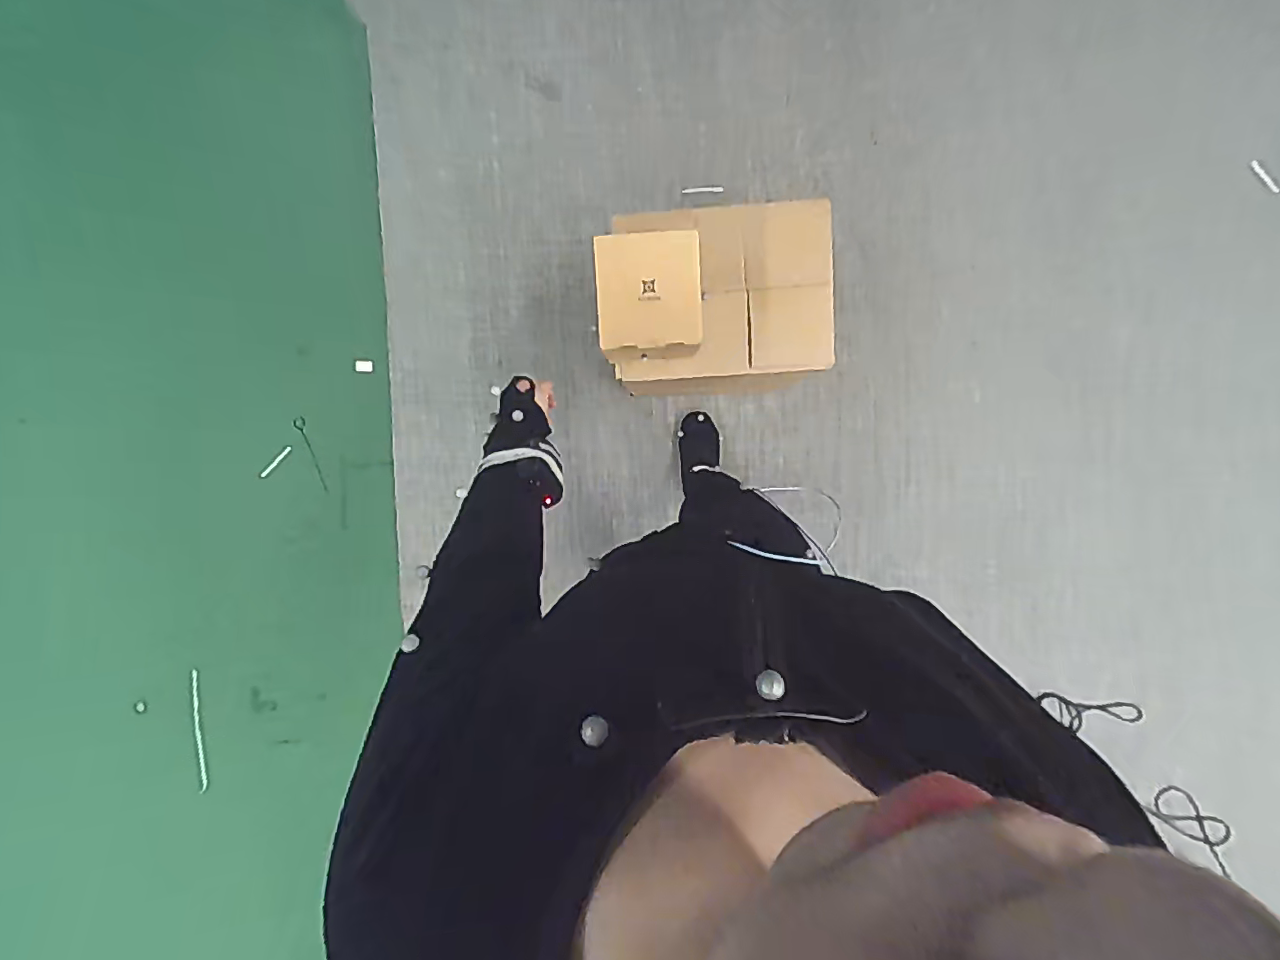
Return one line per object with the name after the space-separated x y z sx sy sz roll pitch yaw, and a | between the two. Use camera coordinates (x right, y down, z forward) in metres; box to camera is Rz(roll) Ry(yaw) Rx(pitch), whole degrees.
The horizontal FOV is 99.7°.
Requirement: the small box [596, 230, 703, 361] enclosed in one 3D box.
0.017 -0.305 0.923 0.168 0.176 0.179 -3 97 2 | small box
